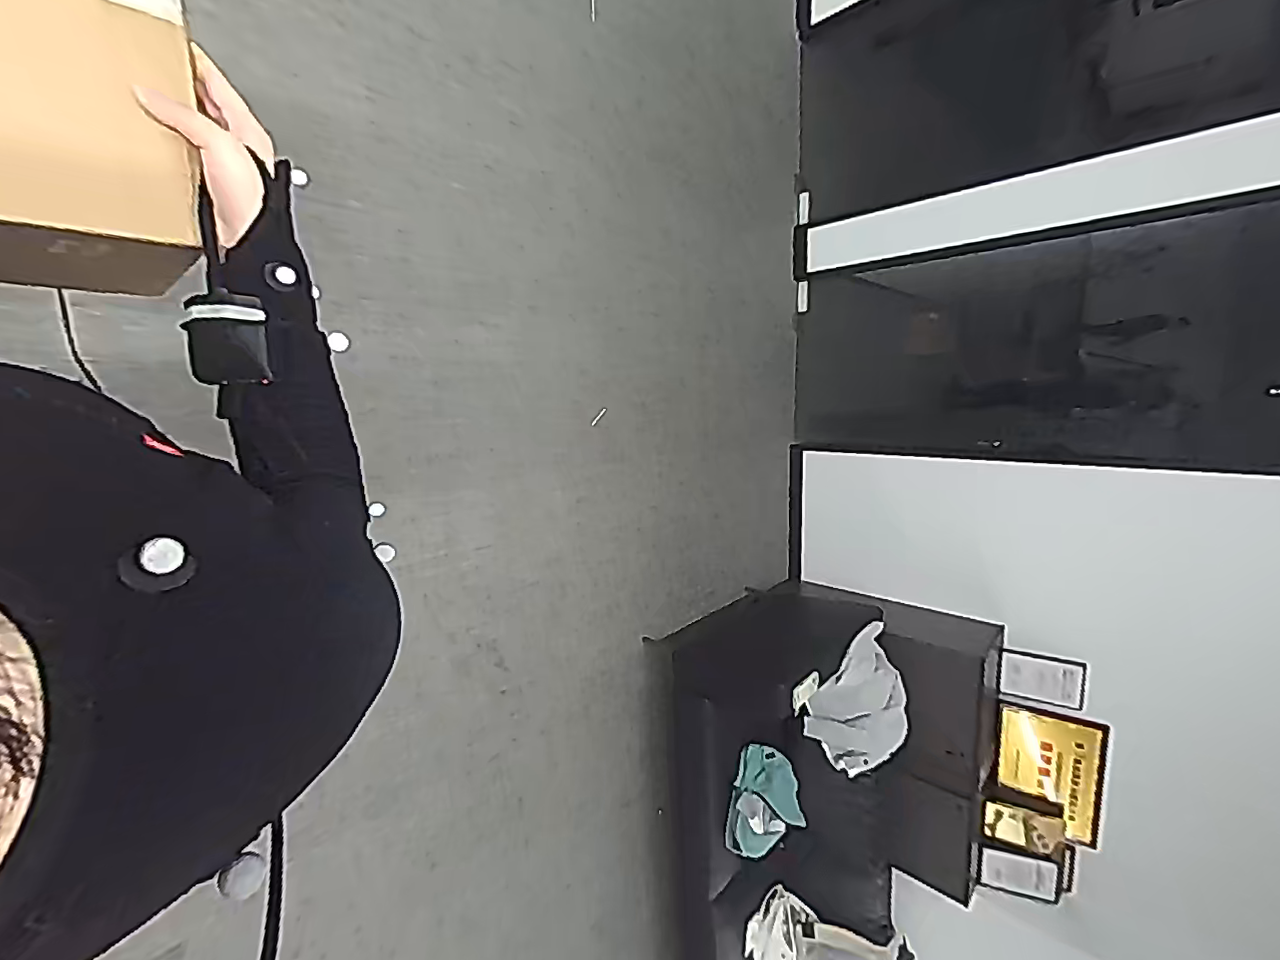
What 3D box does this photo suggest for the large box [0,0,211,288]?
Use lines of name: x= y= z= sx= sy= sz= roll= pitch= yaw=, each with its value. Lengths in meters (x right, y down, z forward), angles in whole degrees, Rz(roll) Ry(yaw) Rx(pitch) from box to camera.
large box: x=-0.575 y=-0.319 z=0.343 sx=0.408 sy=0.320 sz=0.320 roll=-12 pitch=106 yaw=-47
